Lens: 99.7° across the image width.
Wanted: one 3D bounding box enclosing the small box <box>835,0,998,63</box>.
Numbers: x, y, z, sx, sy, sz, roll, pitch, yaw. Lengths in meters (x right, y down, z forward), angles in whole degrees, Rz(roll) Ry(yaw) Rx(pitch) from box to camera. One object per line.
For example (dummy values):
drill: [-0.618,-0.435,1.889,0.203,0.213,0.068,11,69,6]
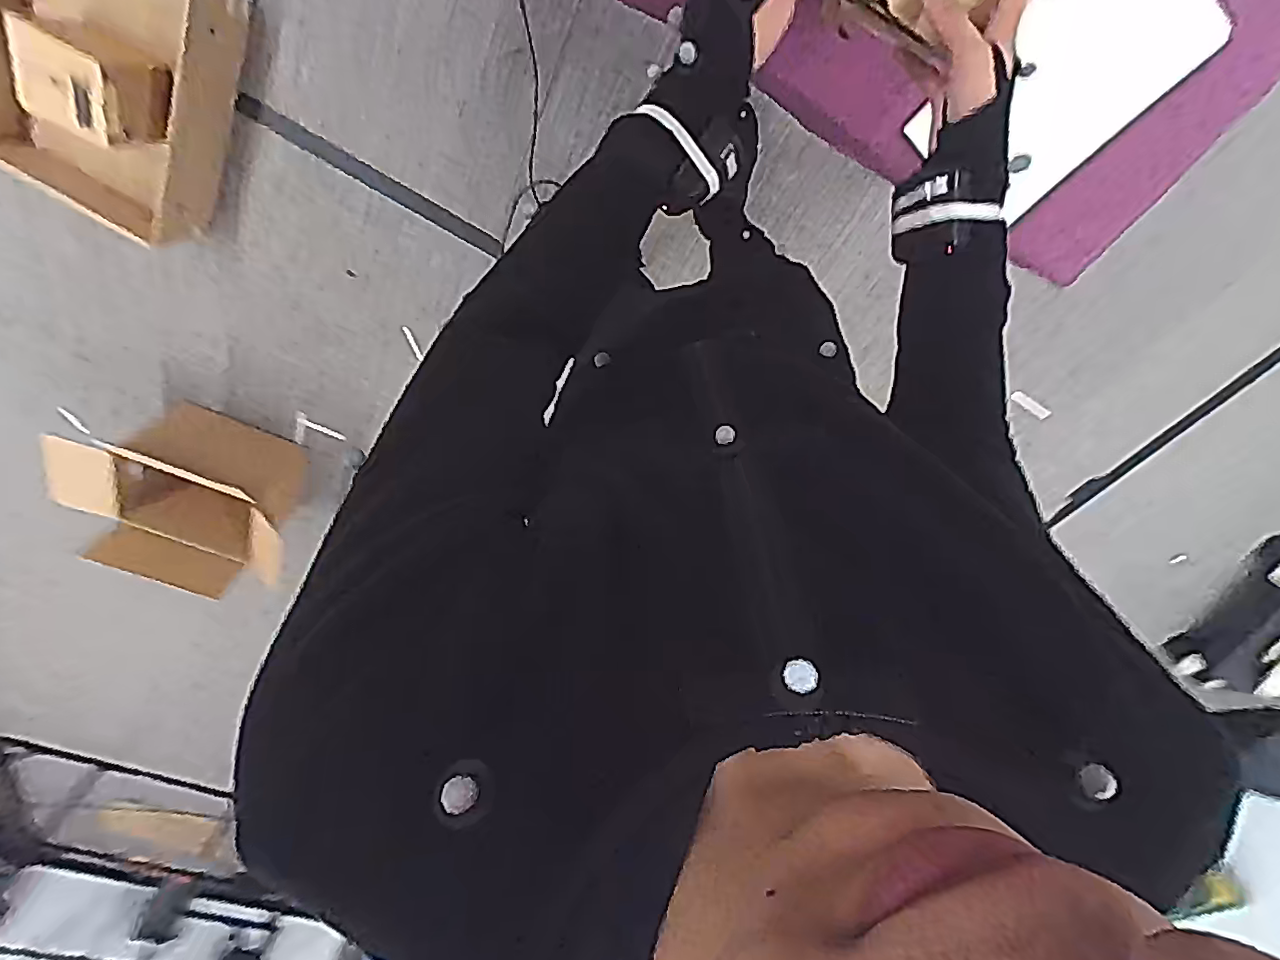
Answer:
small box: [0.213,-0.472,0.413,0.168,0.176,0.179,15,132,-22]
